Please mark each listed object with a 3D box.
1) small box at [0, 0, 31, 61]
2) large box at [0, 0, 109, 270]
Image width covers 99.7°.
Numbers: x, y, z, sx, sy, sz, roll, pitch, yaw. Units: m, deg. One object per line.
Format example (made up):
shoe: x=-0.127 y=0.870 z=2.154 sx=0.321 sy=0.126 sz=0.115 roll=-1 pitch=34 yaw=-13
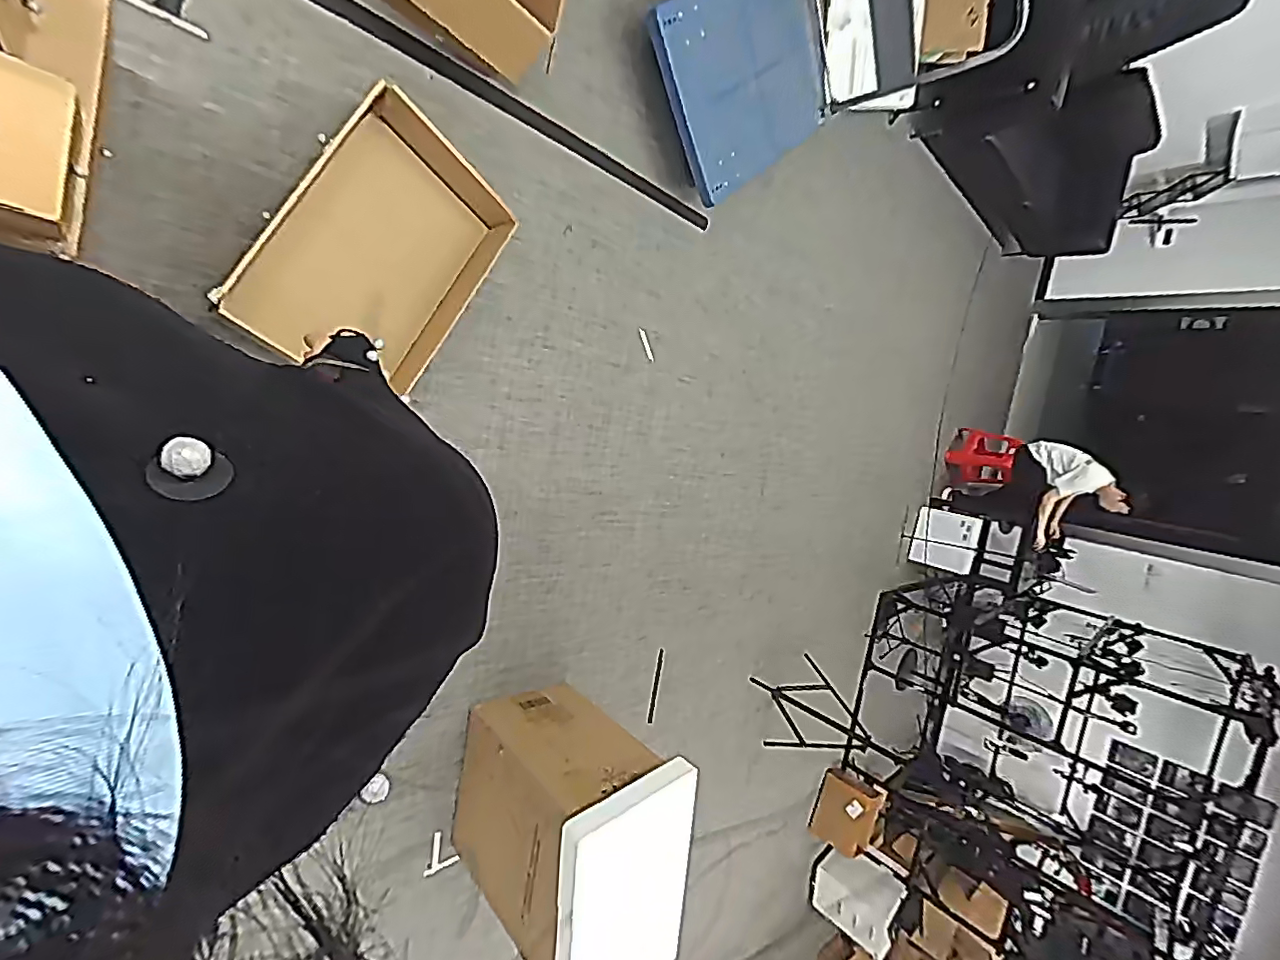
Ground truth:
small box: x=-0.836 y=-0.629 z=0.614 sx=0.179 sy=0.176 sz=0.168 roll=12 pitch=95 yaw=-45
large box: x=-1.020 y=-0.573 z=0.801 sx=0.320 sy=0.320 sz=0.408 roll=7 pitch=97 yaw=-44
